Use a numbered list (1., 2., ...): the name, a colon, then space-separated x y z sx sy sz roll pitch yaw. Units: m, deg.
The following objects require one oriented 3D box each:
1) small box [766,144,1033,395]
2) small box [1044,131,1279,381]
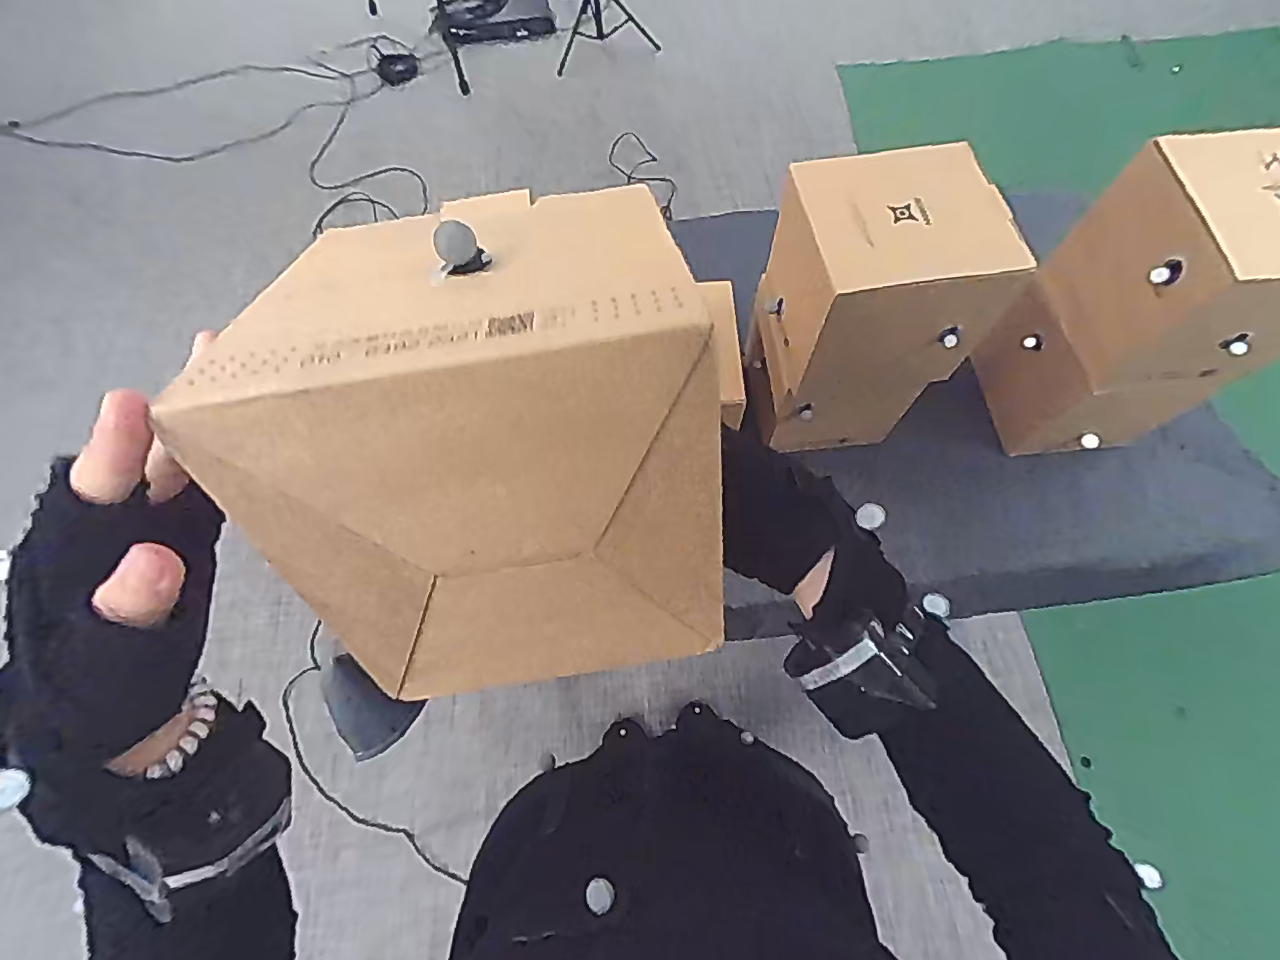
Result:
1. small box: 0.245 -0.207 0.563 0.179 0.176 0.168 -7 66 0
2. small box: 0.565 -0.213 0.548 0.168 0.176 0.179 -3 67 2
